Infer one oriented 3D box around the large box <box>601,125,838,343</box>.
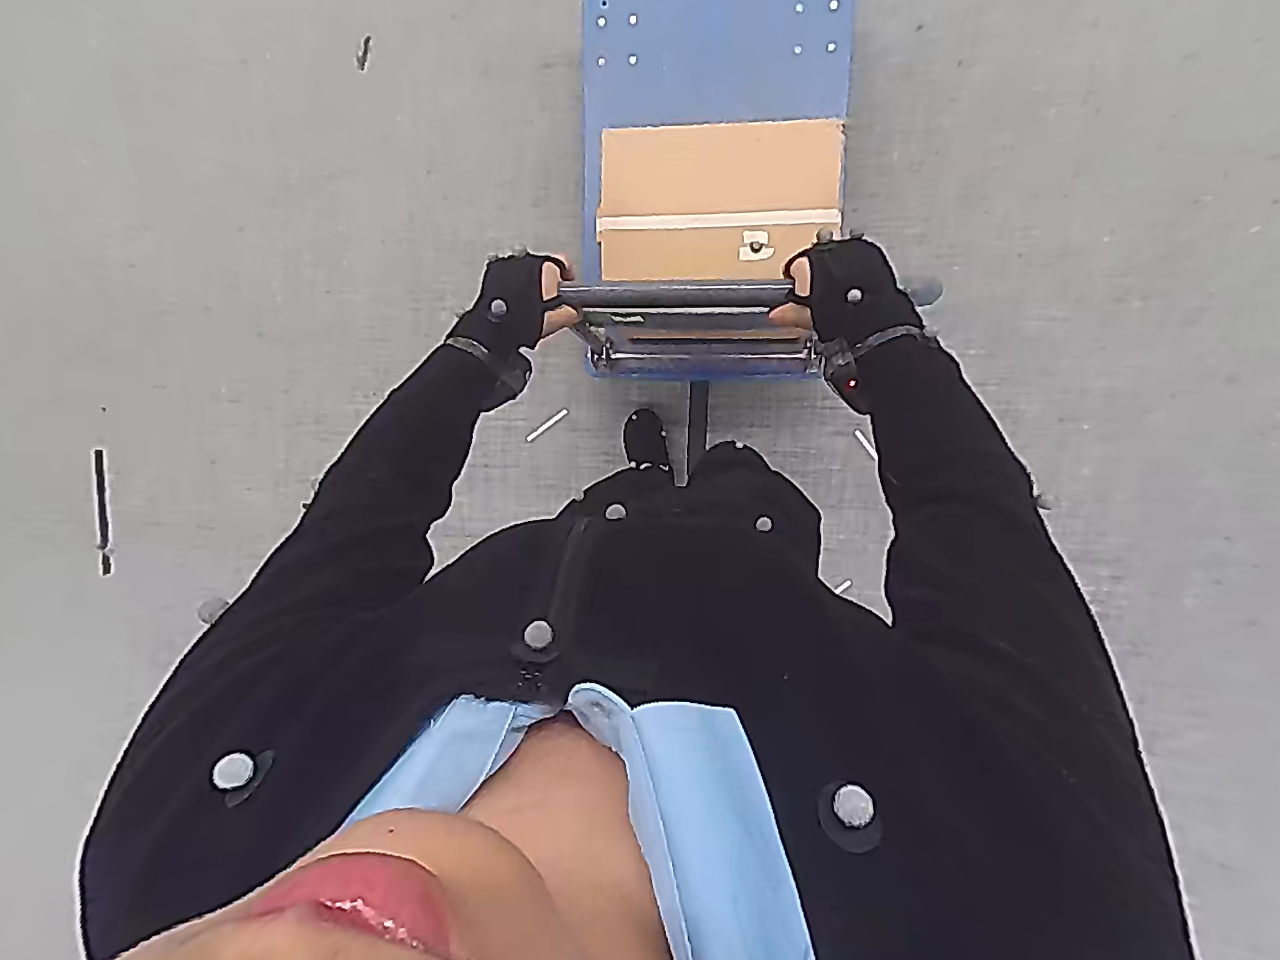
[{"bbox_3d":[0.143,-0.453,1.074,0.408,0.320,0.320,1,98,5],"label":"large box"}]
